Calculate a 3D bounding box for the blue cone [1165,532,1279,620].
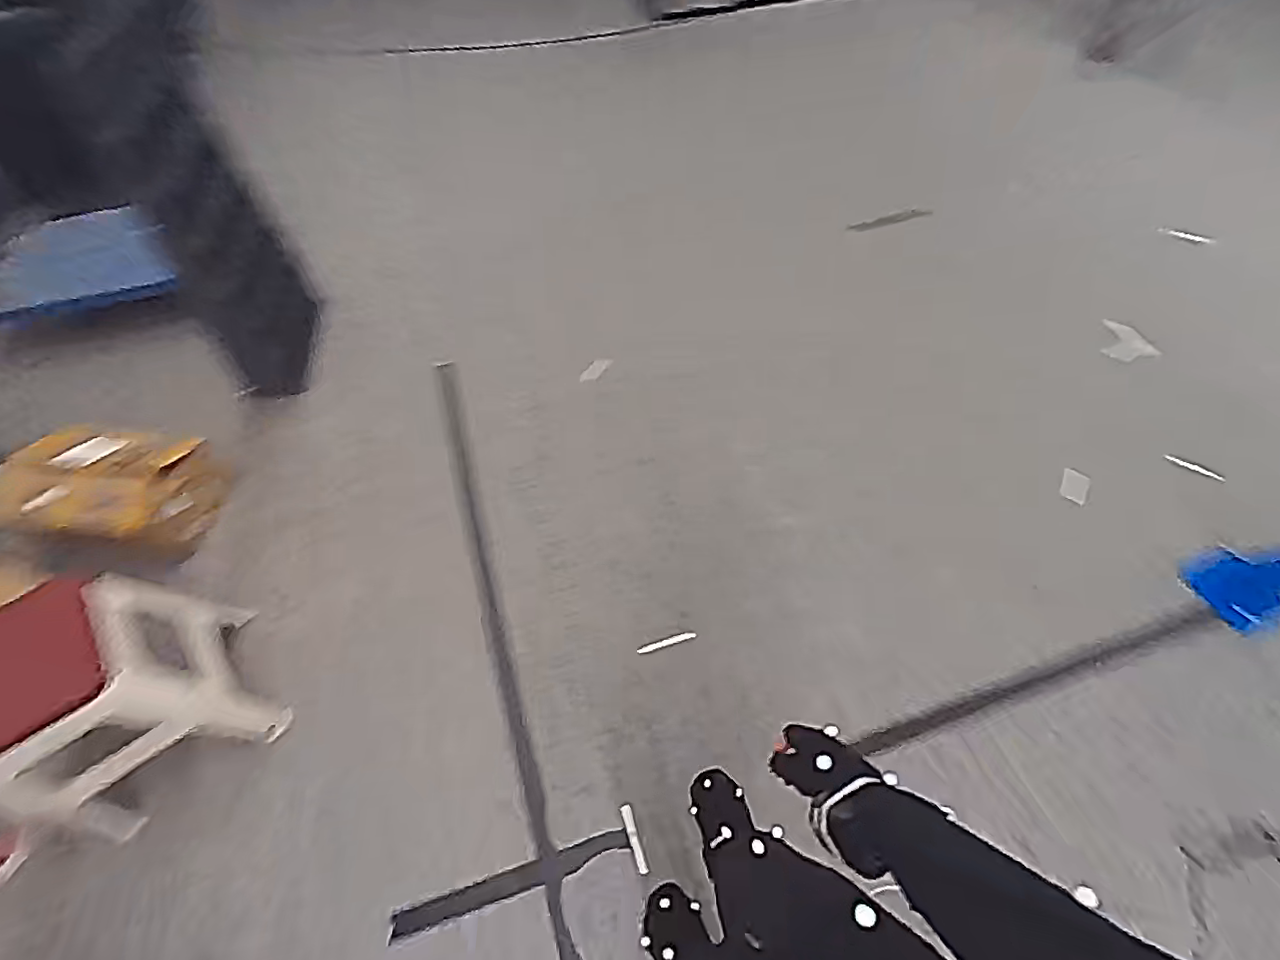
[{"bbox_3d":[1.598,0.193,1.367,0.193,0.380,0.192,-19,58,-12],"label":"blue cone"}]
